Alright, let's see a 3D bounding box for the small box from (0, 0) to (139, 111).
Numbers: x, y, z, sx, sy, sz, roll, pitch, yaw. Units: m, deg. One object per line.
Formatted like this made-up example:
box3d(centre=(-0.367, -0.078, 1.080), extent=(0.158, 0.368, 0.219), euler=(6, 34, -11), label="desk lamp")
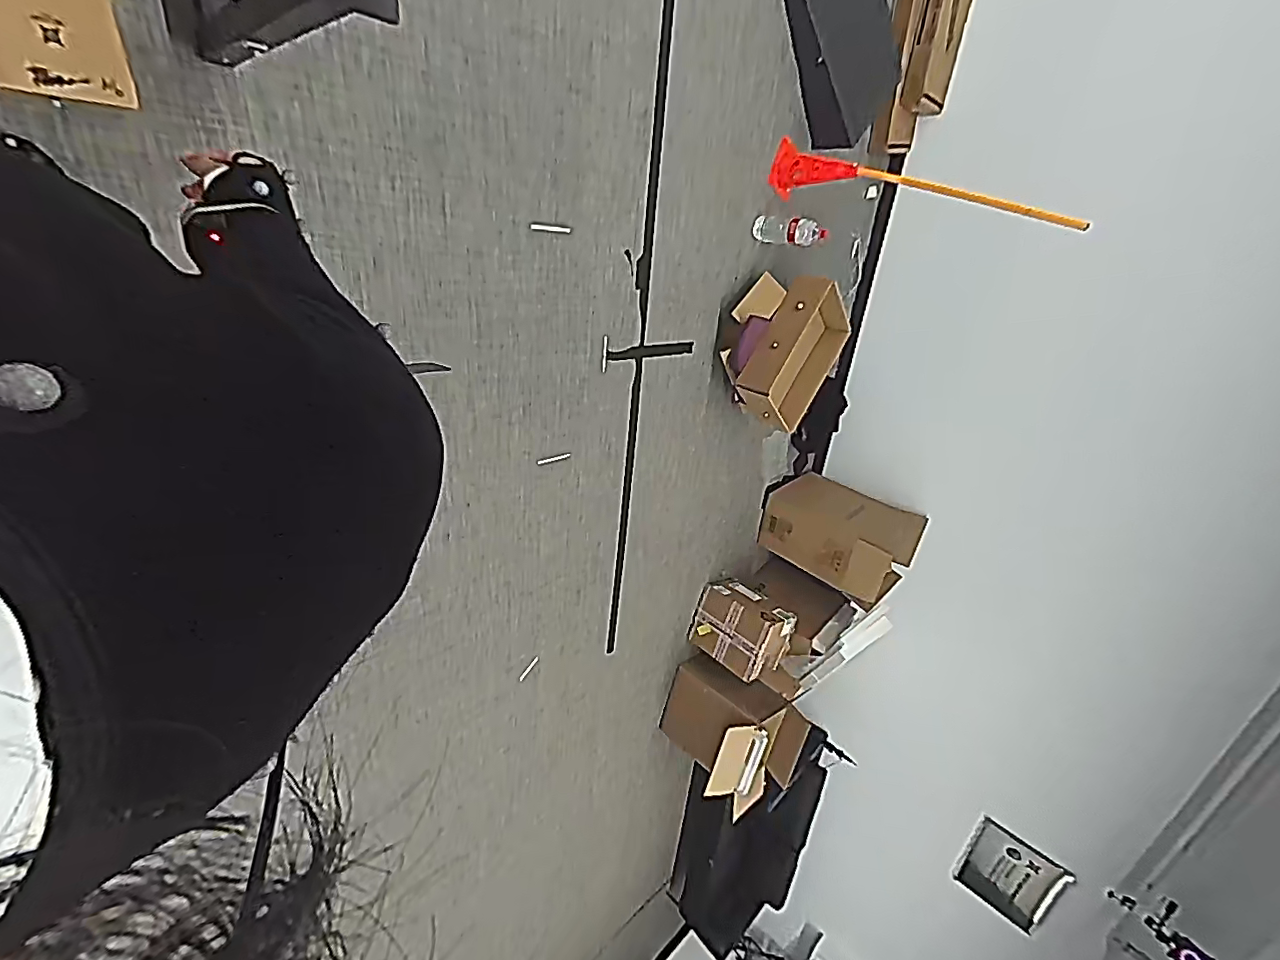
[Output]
box3d(centre=(-0.929, -0.703, 0.848), extent=(0.168, 0.176, 0.179), euler=(-19, 124, -41), label="small box")
